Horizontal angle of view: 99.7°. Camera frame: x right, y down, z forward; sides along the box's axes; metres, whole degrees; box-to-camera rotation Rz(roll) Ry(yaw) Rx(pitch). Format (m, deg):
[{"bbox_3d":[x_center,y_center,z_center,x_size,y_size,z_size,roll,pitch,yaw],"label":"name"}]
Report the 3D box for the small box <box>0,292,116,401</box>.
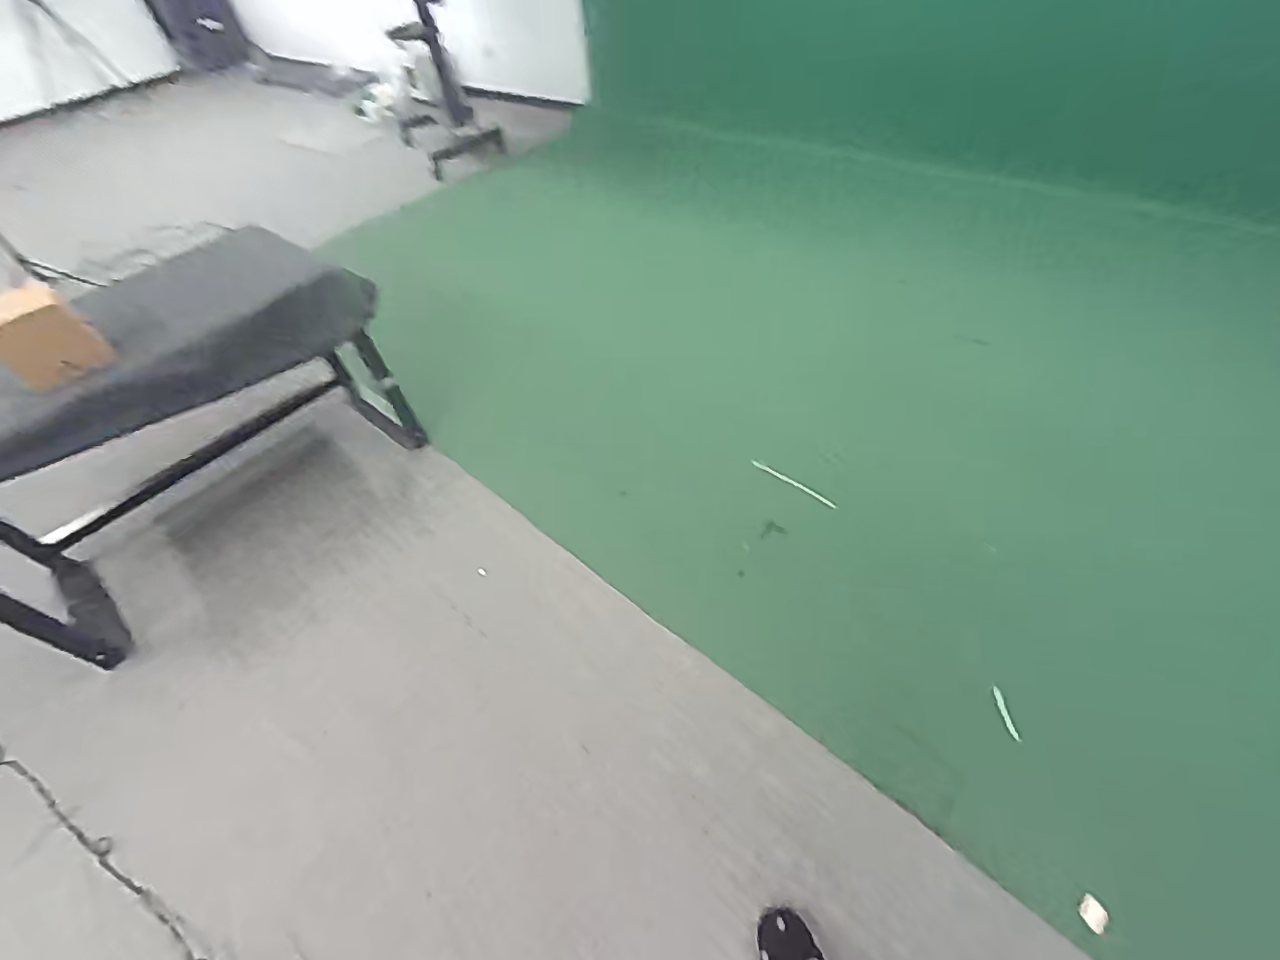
[{"bbox_3d":[-1.443,-0.325,1.321,0.168,0.176,0.179,32,60,31],"label":"small box"}]
